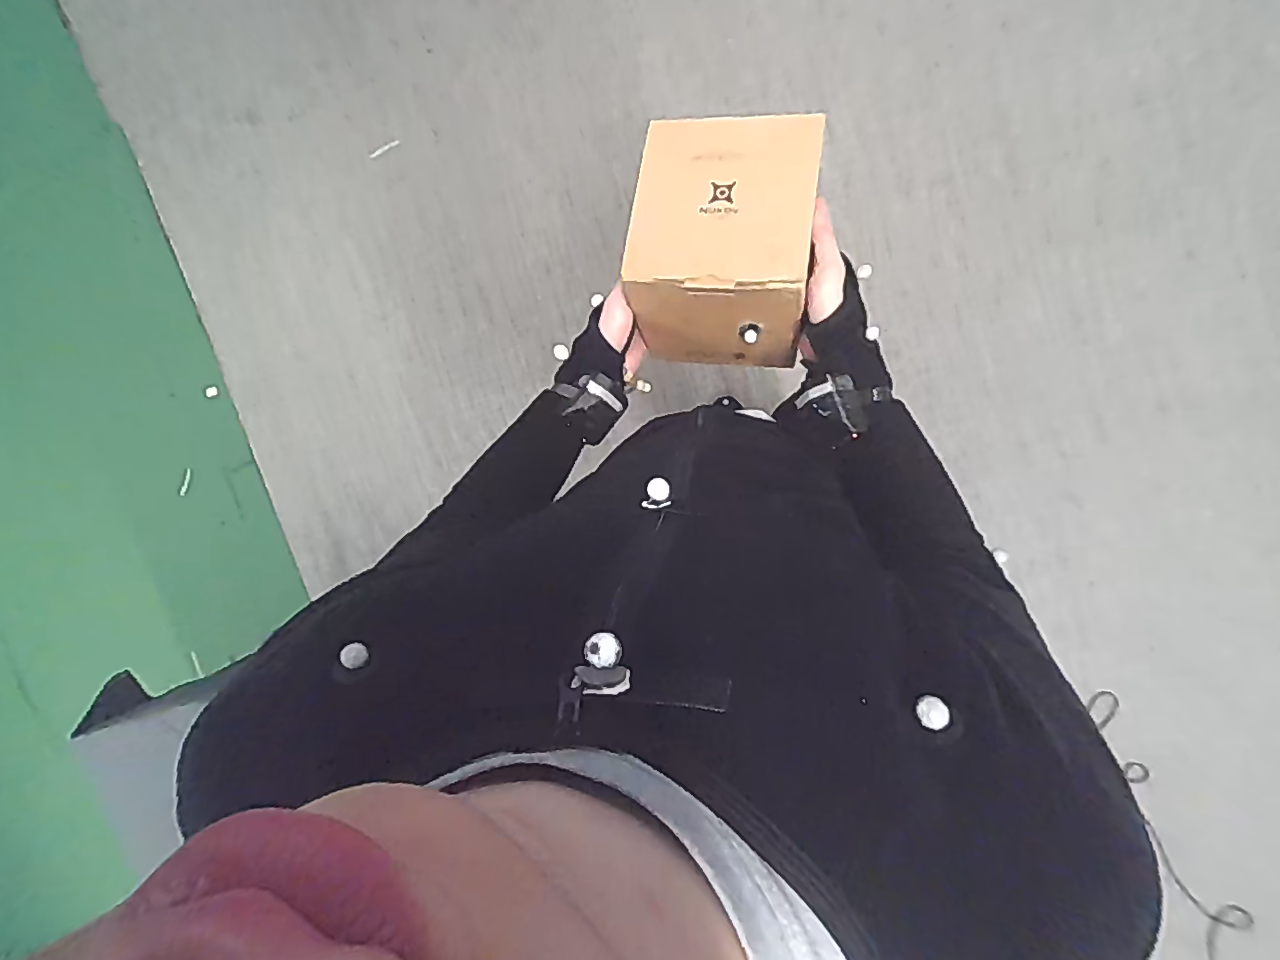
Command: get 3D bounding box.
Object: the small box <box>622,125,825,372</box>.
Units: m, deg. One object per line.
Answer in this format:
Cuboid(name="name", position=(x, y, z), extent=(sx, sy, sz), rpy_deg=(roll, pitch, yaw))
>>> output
Cuboid(name="small box", position=(0.091, -0.229, 0.567), extent=(0.168, 0.176, 0.179), rpy_deg=(7, 76, 12))
